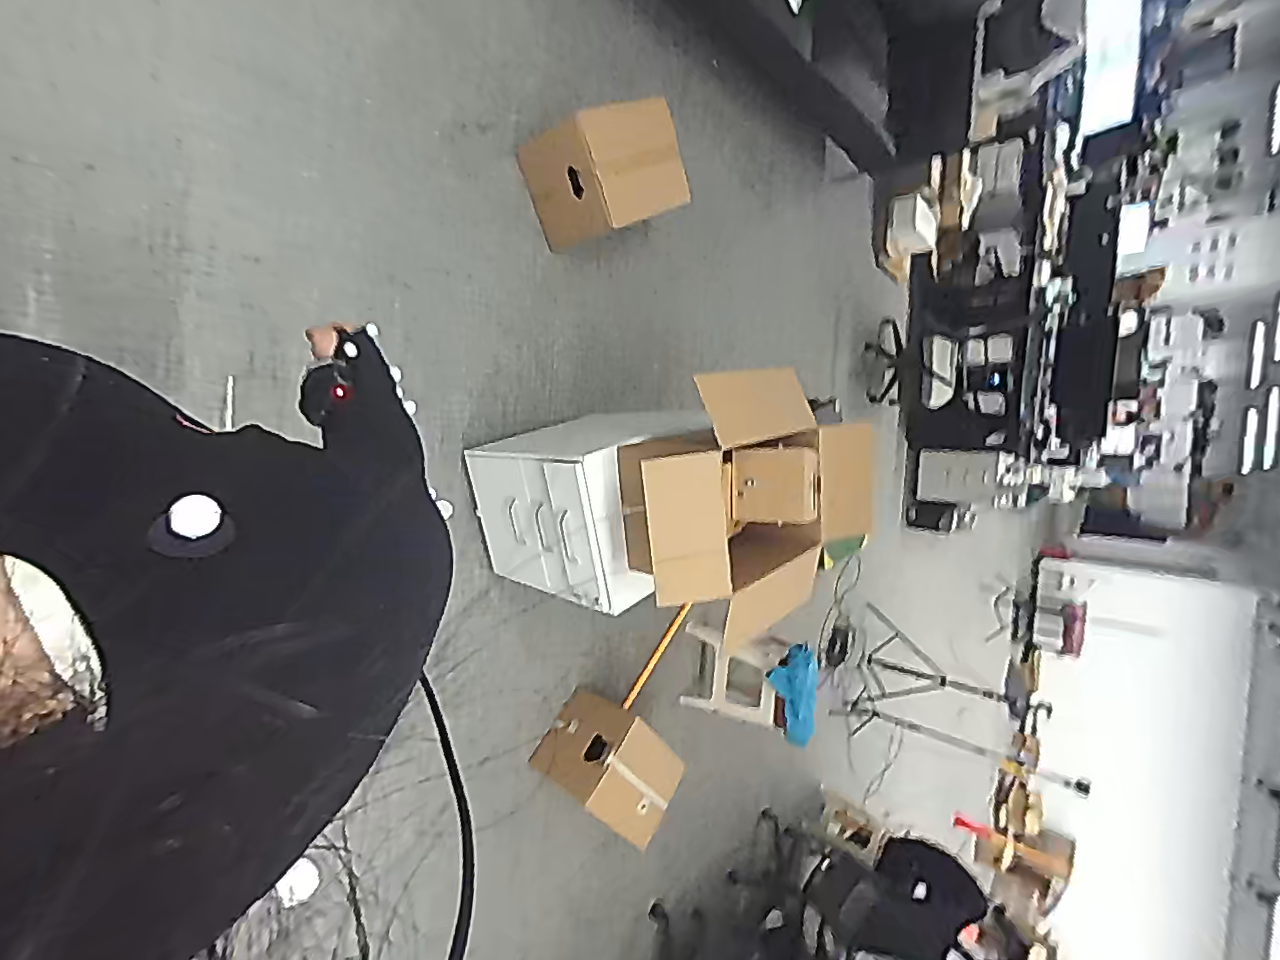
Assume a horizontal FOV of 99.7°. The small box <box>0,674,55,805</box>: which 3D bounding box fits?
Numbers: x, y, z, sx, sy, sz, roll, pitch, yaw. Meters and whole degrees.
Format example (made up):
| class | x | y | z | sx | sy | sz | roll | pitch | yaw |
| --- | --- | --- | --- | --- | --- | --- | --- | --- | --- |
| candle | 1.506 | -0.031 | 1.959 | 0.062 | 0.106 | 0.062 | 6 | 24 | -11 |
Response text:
| class | x | y | z | sx | sy | sz | roll | pitch | yaw |
| --- | --- | --- | --- | --- | --- | --- | --- | --- | --- |
| small box | -1.144 | 0.455 | 0.939 | 0.168 | 0.176 | 0.179 | -2 | 94 | -45 |
